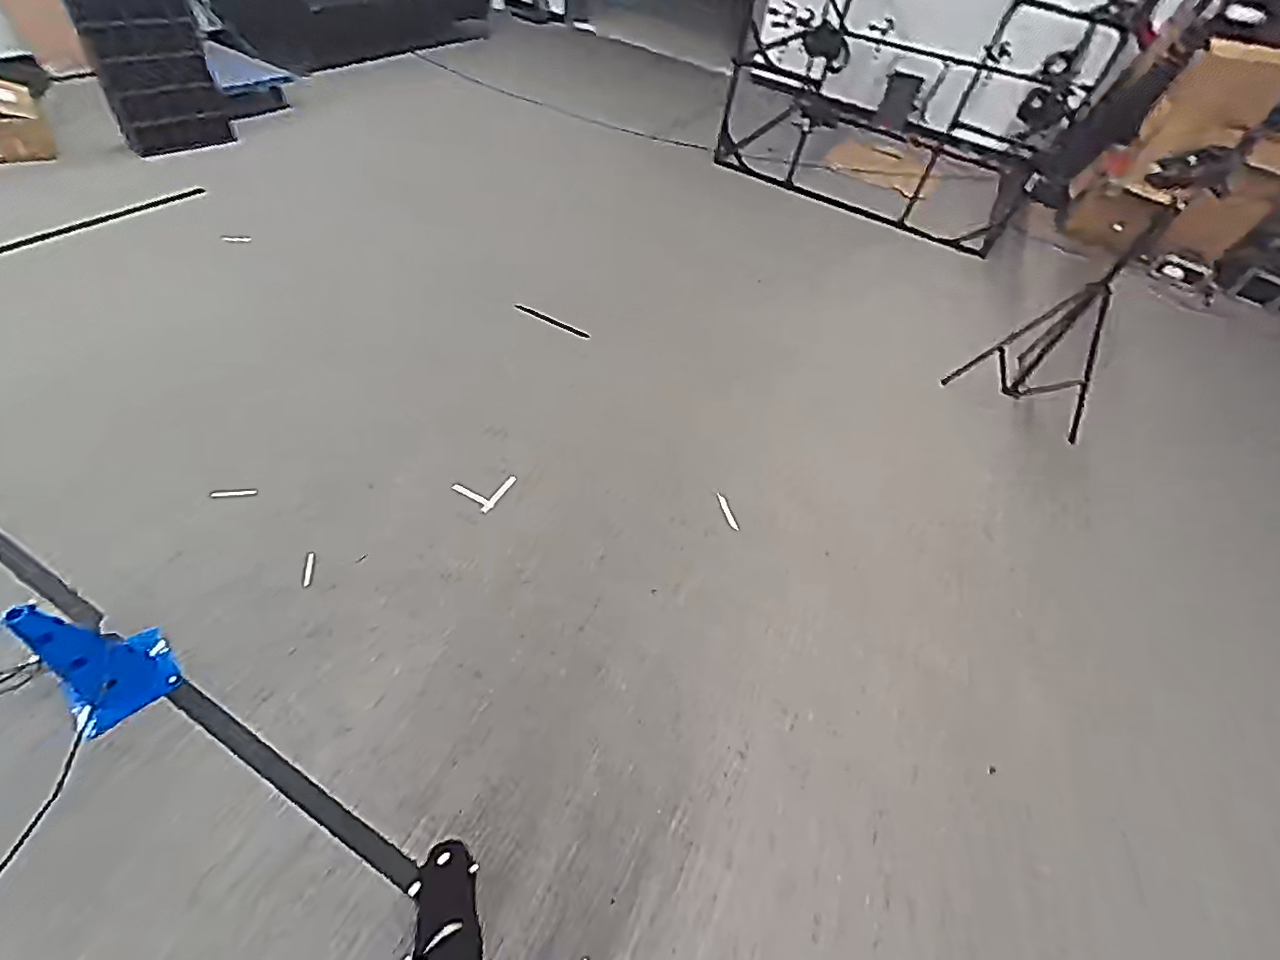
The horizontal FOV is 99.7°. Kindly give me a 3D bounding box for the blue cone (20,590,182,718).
[{"bbox_3d":[-1.221,0.351,1.185,0.192,0.380,0.193,-33,63,-33],"label":"blue cone"}]
